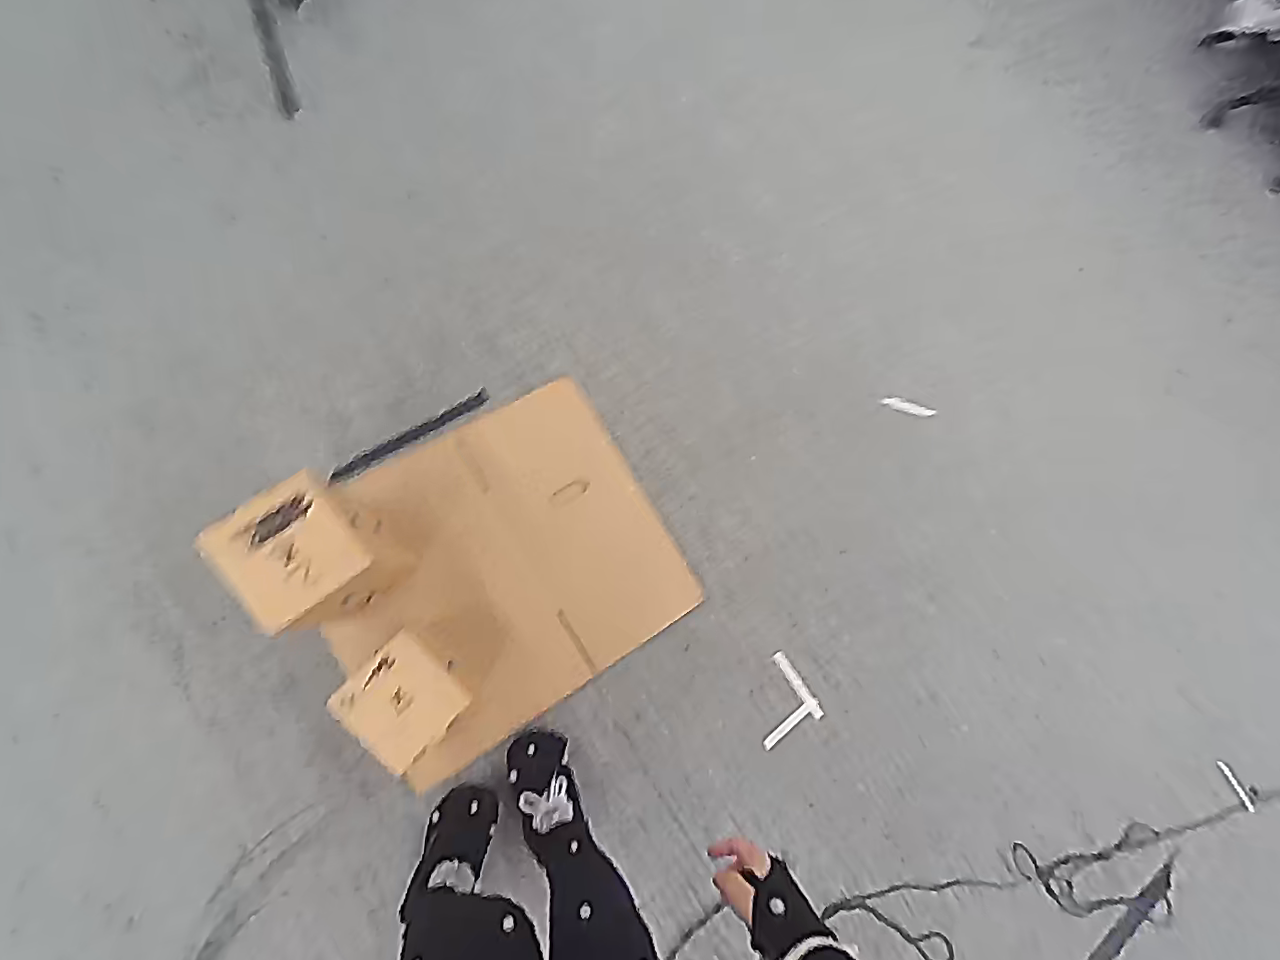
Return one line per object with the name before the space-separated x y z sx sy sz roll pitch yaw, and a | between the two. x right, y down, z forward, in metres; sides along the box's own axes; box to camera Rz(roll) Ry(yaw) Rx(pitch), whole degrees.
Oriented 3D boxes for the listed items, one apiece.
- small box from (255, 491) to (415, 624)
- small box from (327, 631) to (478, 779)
small box | -0.553 0.148 1.007 0.168 0.176 0.179 -41 89 -16
small box | -0.415 0.392 0.982 0.179 0.176 0.168 45 73 -1
